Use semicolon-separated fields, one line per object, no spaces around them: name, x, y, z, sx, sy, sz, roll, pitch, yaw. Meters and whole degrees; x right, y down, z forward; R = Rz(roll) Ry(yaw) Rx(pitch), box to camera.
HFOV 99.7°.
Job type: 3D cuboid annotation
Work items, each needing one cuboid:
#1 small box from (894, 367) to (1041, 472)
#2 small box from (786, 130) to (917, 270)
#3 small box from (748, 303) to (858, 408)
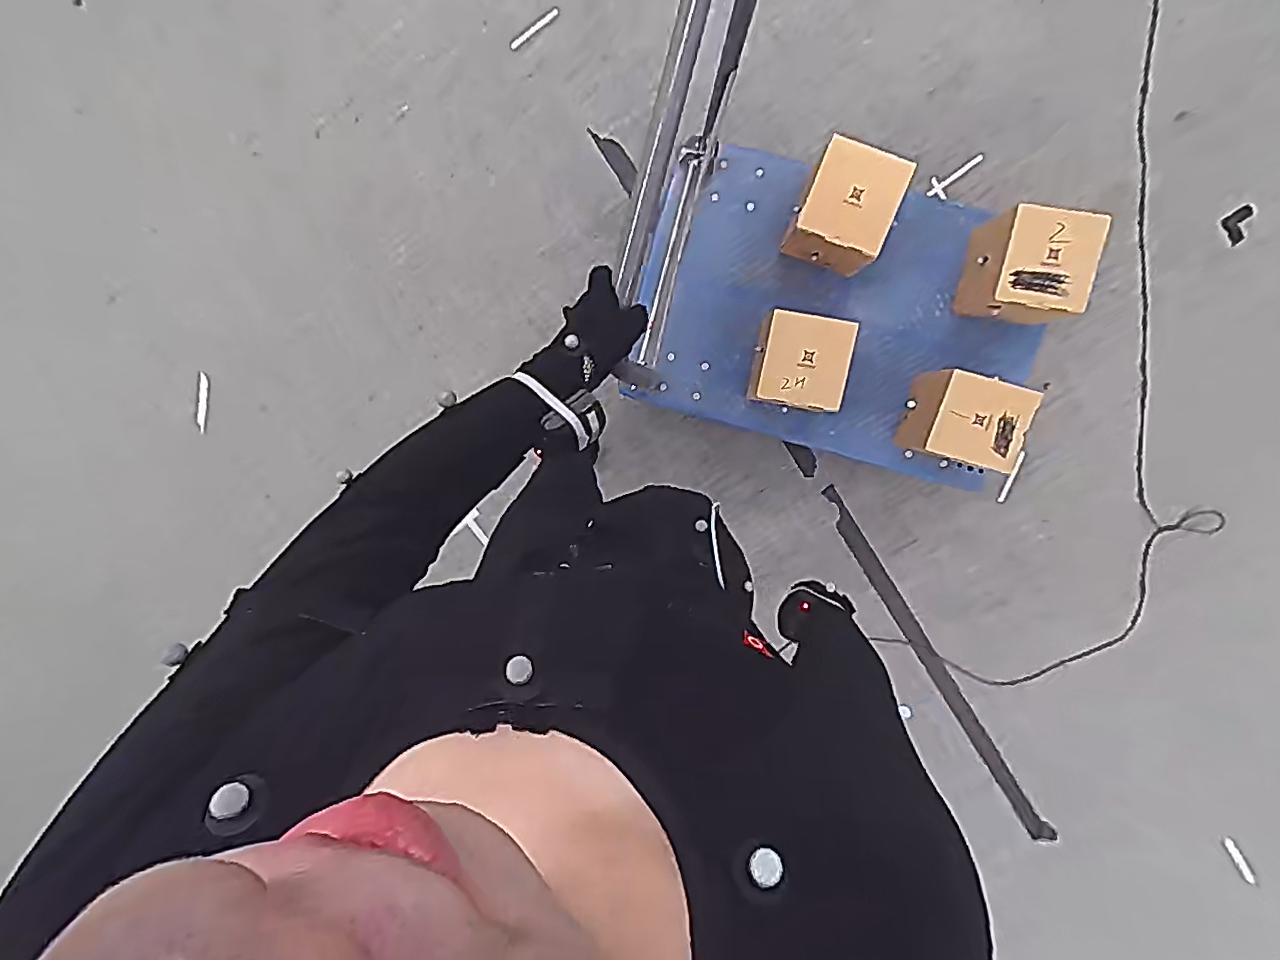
small box;0.667;-0.129;1.124;0.179;0.176;0.168;18;100;2
small box;0.408;-0.546;1.080;0.168;0.176;0.179;21;101;1
small box;0.330;-0.253;1.130;0.168;0.176;0.179;11;99;3
